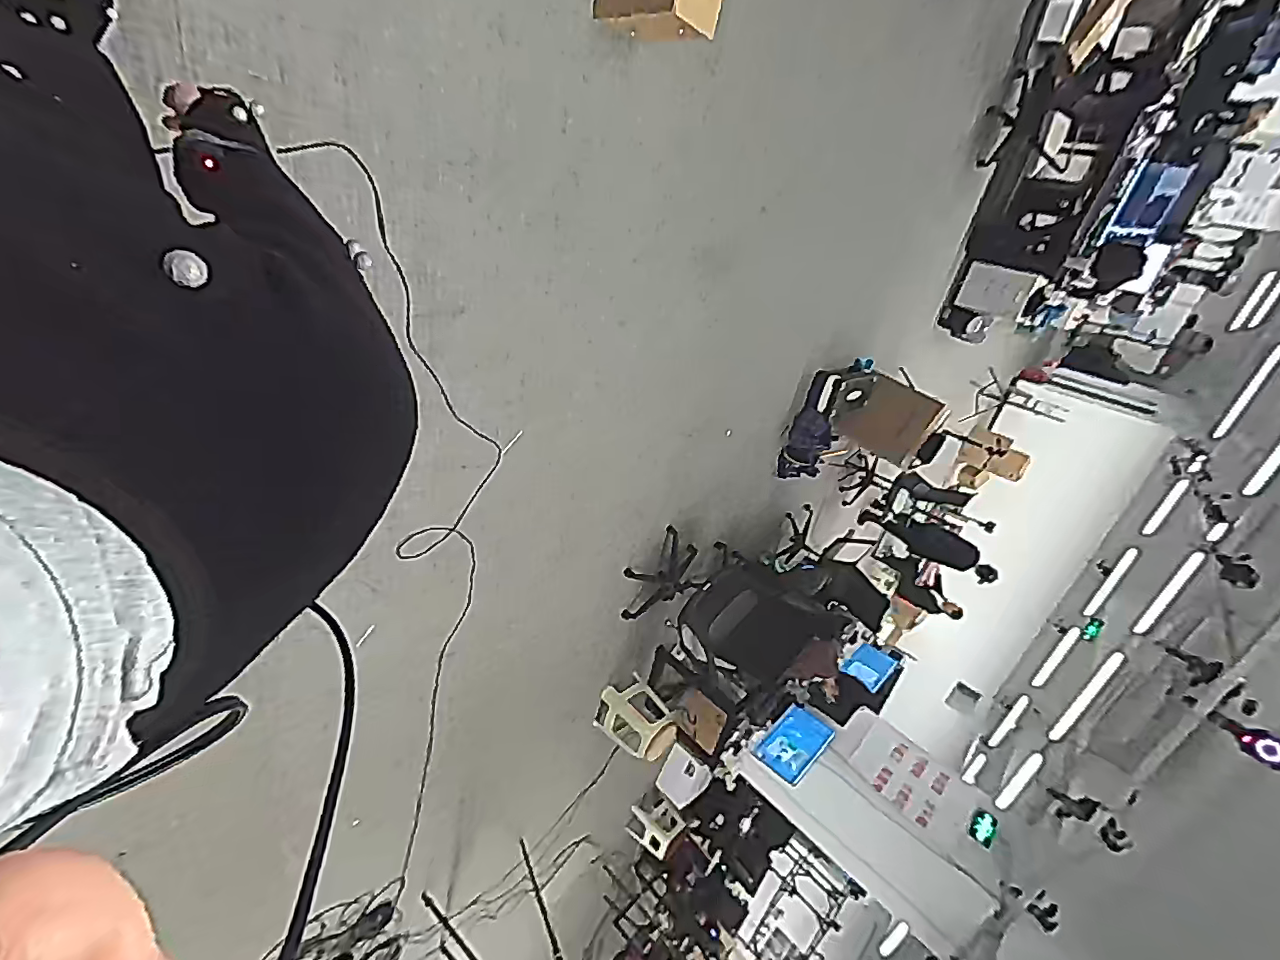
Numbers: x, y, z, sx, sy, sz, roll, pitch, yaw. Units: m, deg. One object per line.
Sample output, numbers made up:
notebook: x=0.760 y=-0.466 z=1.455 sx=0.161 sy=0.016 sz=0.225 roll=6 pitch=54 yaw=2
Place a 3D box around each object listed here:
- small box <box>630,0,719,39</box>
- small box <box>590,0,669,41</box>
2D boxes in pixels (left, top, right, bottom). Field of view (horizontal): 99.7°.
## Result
small box: x=0.098 y=-1.317 z=1.452 sx=0.179 sy=0.176 sz=0.168 roll=-16 pitch=130 yaw=-47
small box: x=-0.013 y=-1.391 z=1.544 sx=0.179 sy=0.176 sz=0.168 roll=-16 pitch=129 yaw=-45
